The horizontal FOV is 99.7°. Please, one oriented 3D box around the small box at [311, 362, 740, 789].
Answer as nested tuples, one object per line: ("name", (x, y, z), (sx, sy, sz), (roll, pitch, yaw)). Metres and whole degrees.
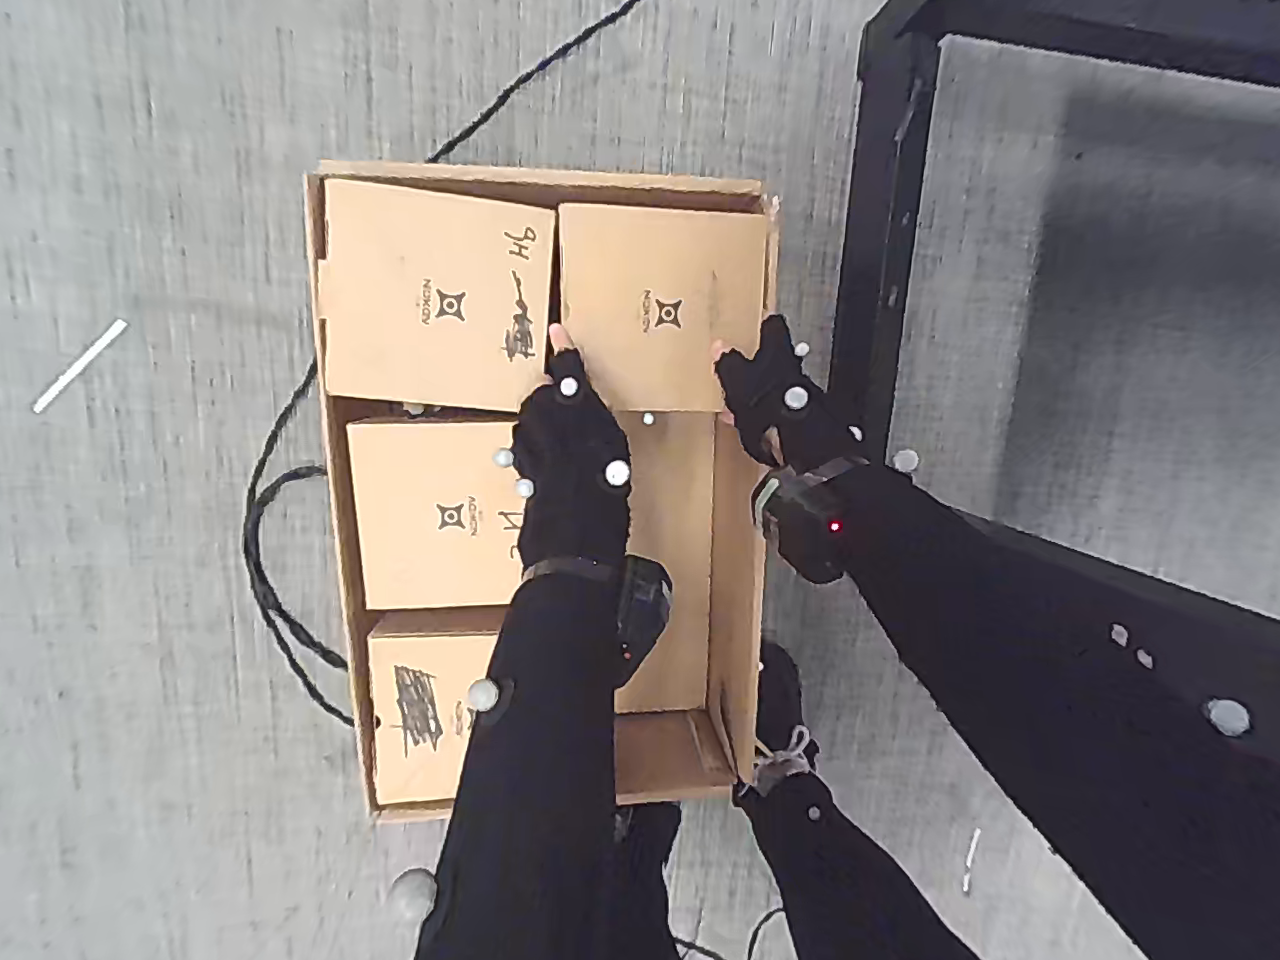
("small box", (-0.082, 0.051, 0.327), (0.176, 0.179, 0.168), (17, 111, -37))
